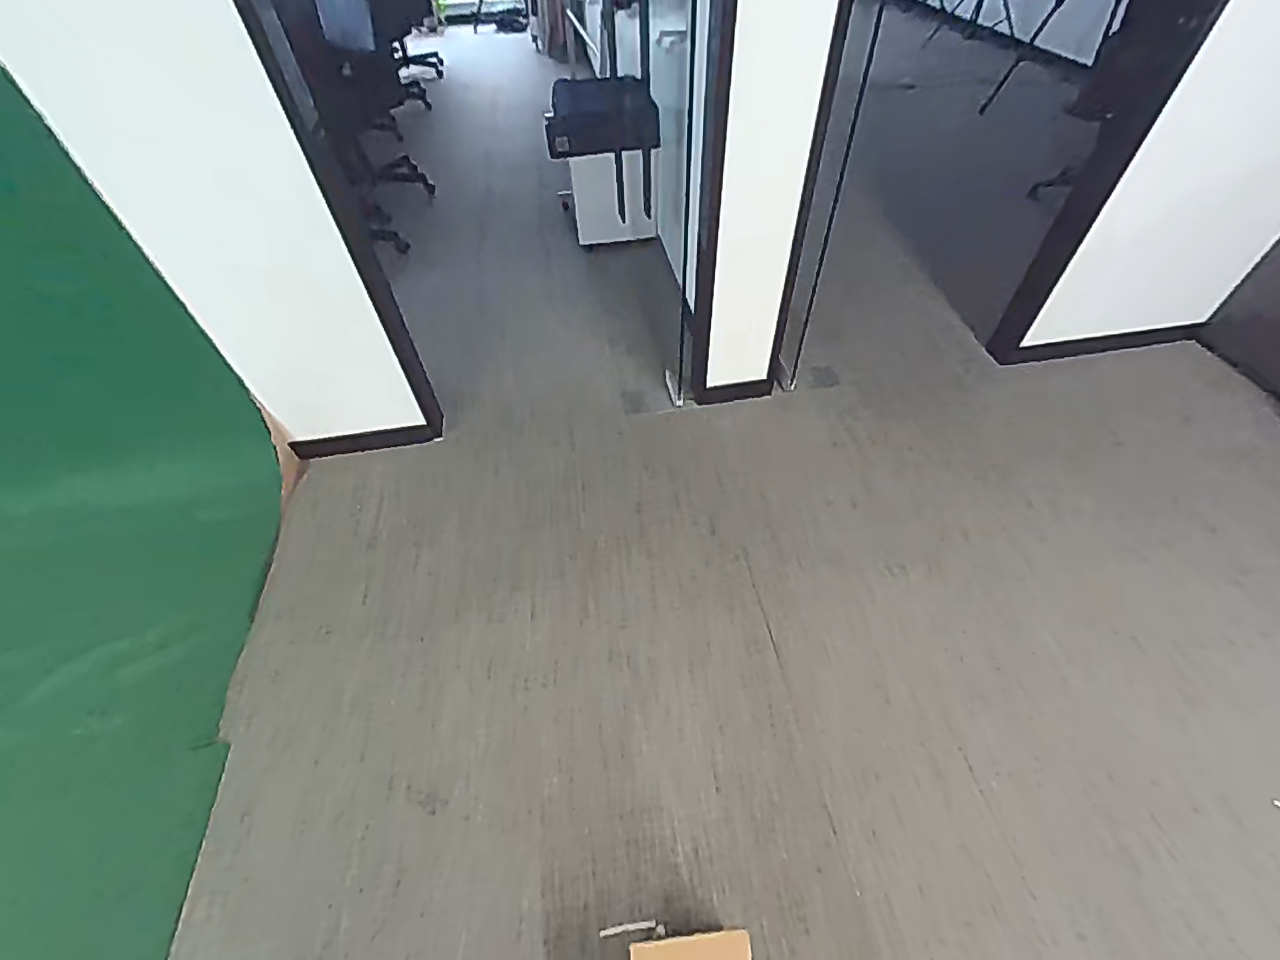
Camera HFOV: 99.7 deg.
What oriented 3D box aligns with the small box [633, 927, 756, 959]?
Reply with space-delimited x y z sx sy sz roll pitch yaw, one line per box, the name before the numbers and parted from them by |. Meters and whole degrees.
small box | 0.089 0.775 0.795 0.179 0.176 0.168 -6 51 -2
